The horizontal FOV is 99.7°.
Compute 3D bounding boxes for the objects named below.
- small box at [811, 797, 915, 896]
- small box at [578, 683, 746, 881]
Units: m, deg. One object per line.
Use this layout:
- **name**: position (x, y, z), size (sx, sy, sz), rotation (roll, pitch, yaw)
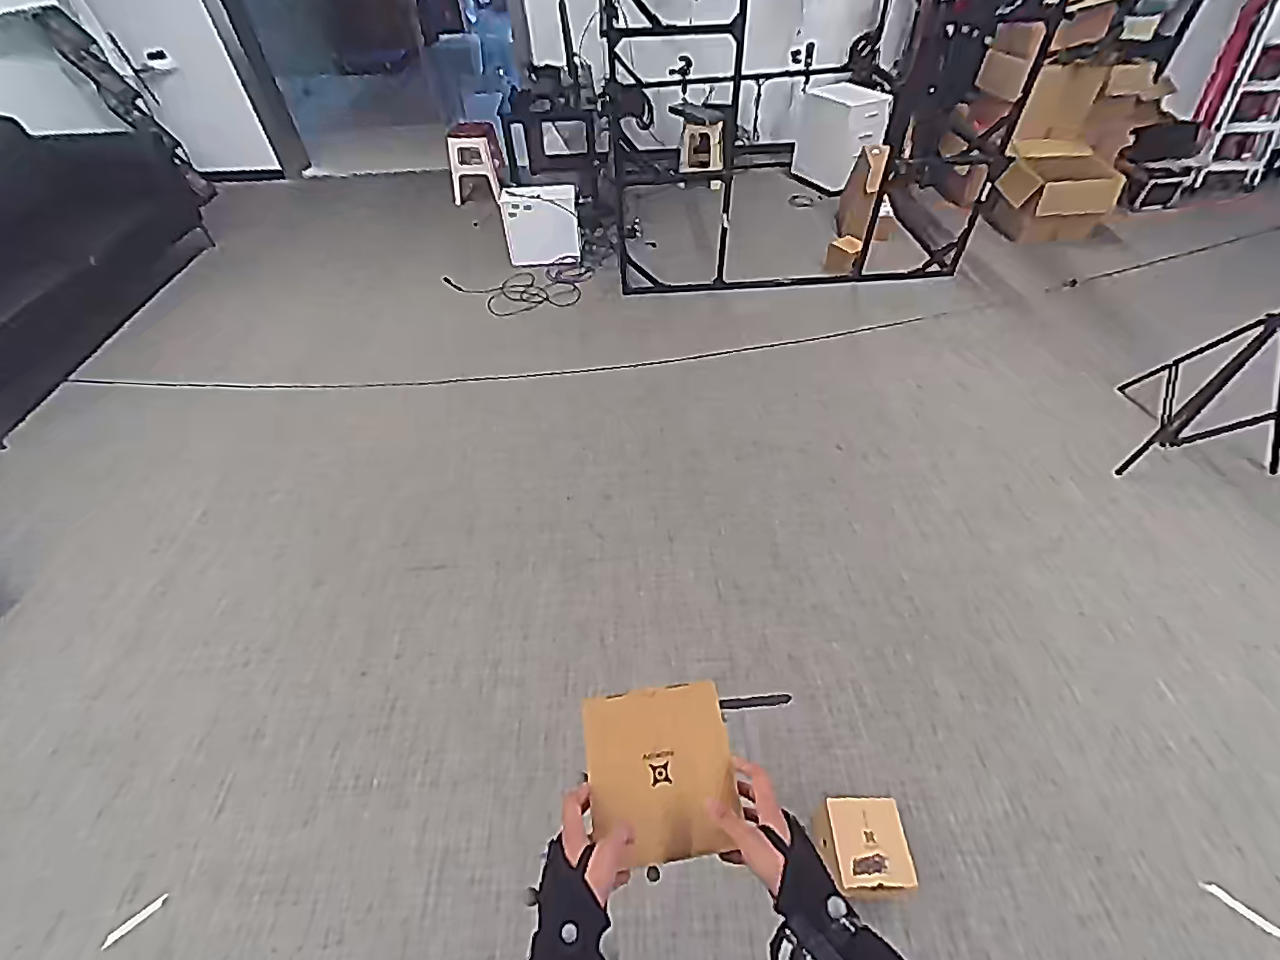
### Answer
- **small box**: position (0.517, 0.871, 1.283), size (0.168, 0.176, 0.179), rotation (-1, 47, 1)
- **small box**: position (0.020, 0.372, 0.667), size (0.168, 0.176, 0.179), rotation (-8, 54, -6)
